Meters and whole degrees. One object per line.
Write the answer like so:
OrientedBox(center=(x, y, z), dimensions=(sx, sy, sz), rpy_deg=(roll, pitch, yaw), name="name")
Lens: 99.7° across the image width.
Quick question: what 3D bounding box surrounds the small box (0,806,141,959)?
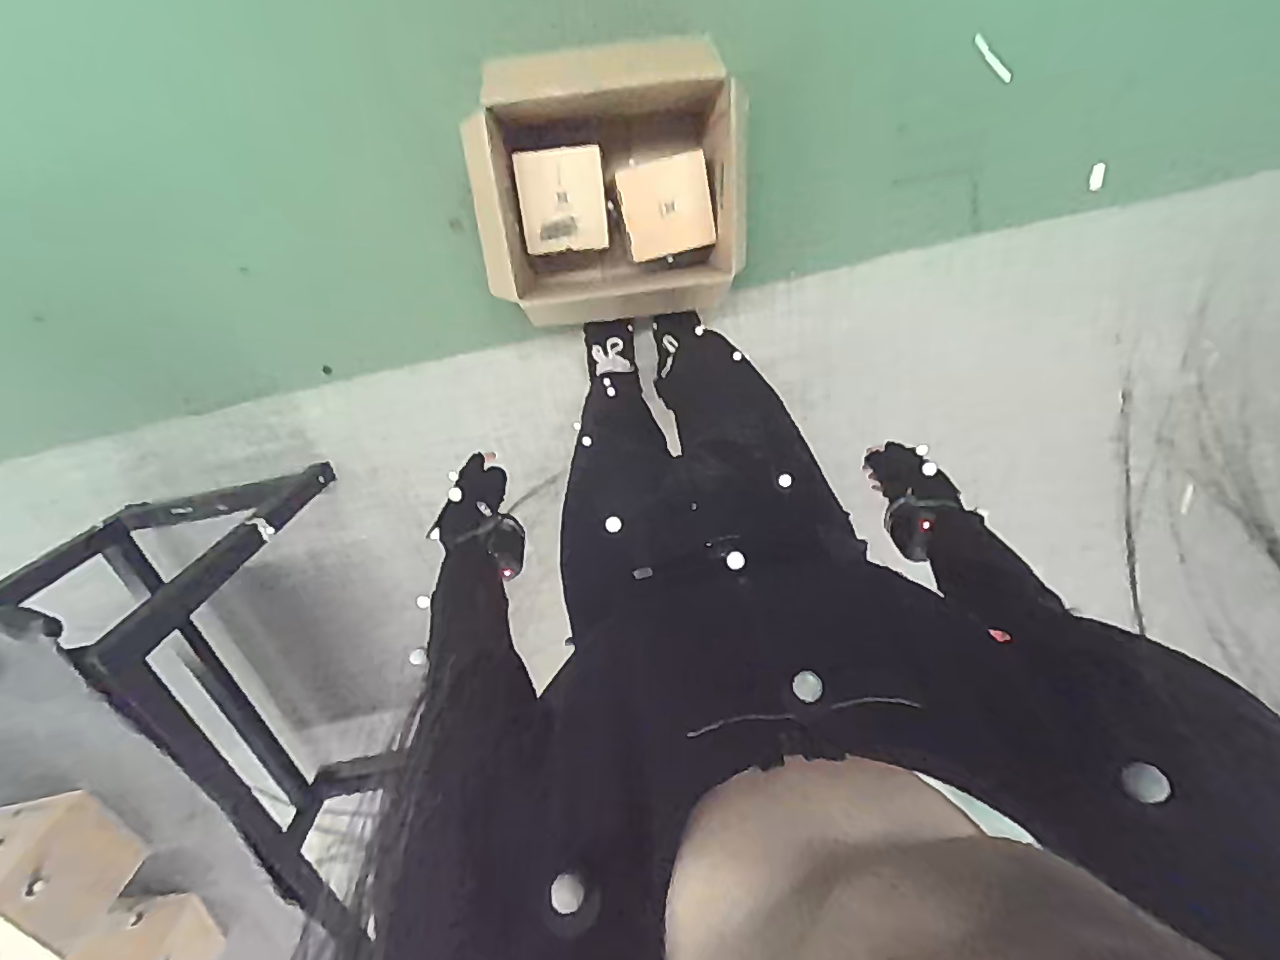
OrientedBox(center=(-0.956, 0.637, 0.838), dimensions=(0.168, 0.176, 0.179), rpy_deg=(-13, 115, 4), name="small box")
